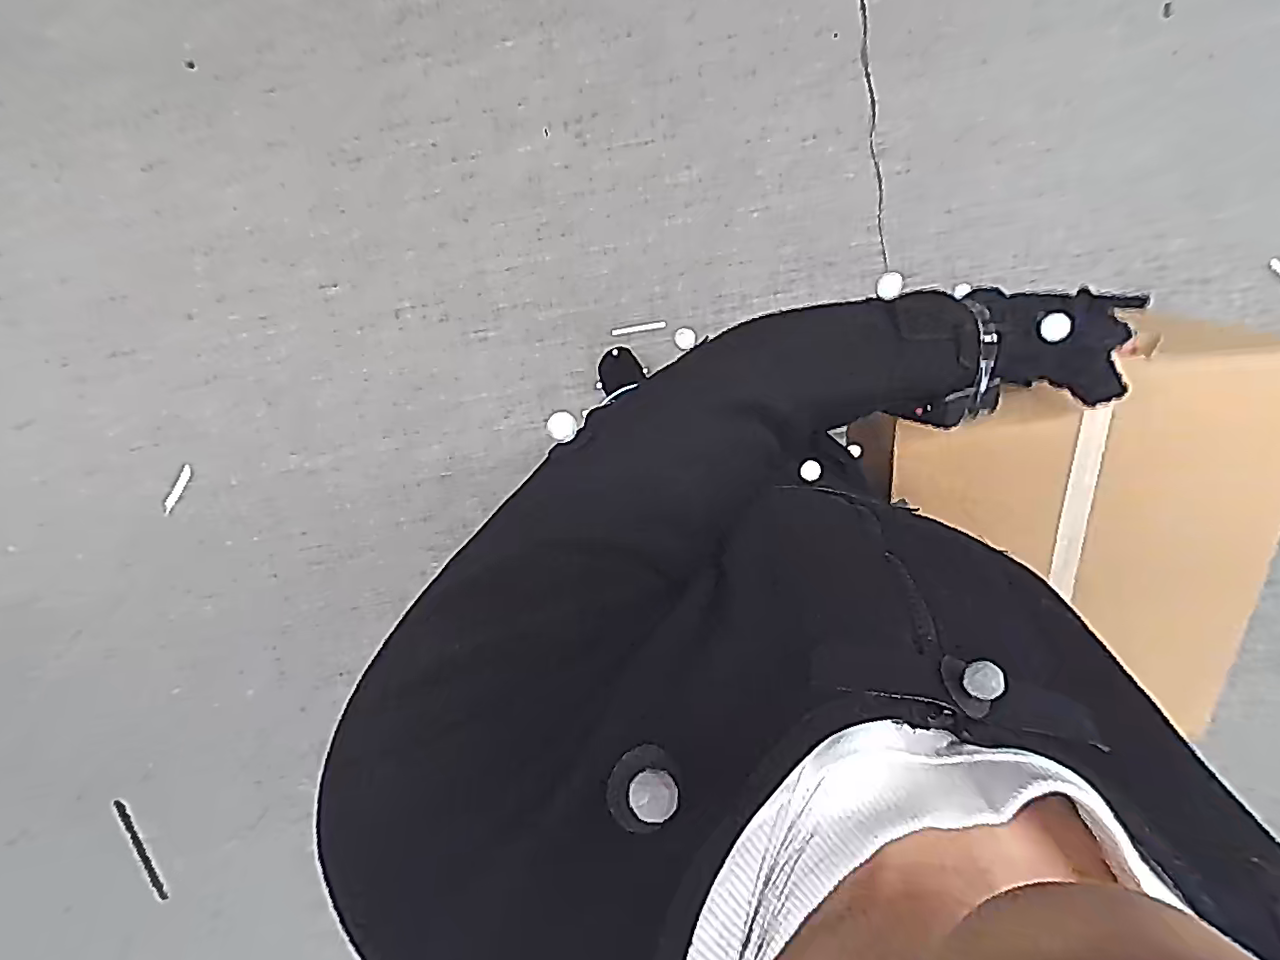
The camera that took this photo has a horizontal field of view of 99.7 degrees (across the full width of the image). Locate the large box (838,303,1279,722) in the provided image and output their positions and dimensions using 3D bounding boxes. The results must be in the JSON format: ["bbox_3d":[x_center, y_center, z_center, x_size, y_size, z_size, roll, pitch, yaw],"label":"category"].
[{"bbox_3d":[0.428,0.020,0.664,0.320,0.320,0.408,-1,114,14],"label":"large box"}]
